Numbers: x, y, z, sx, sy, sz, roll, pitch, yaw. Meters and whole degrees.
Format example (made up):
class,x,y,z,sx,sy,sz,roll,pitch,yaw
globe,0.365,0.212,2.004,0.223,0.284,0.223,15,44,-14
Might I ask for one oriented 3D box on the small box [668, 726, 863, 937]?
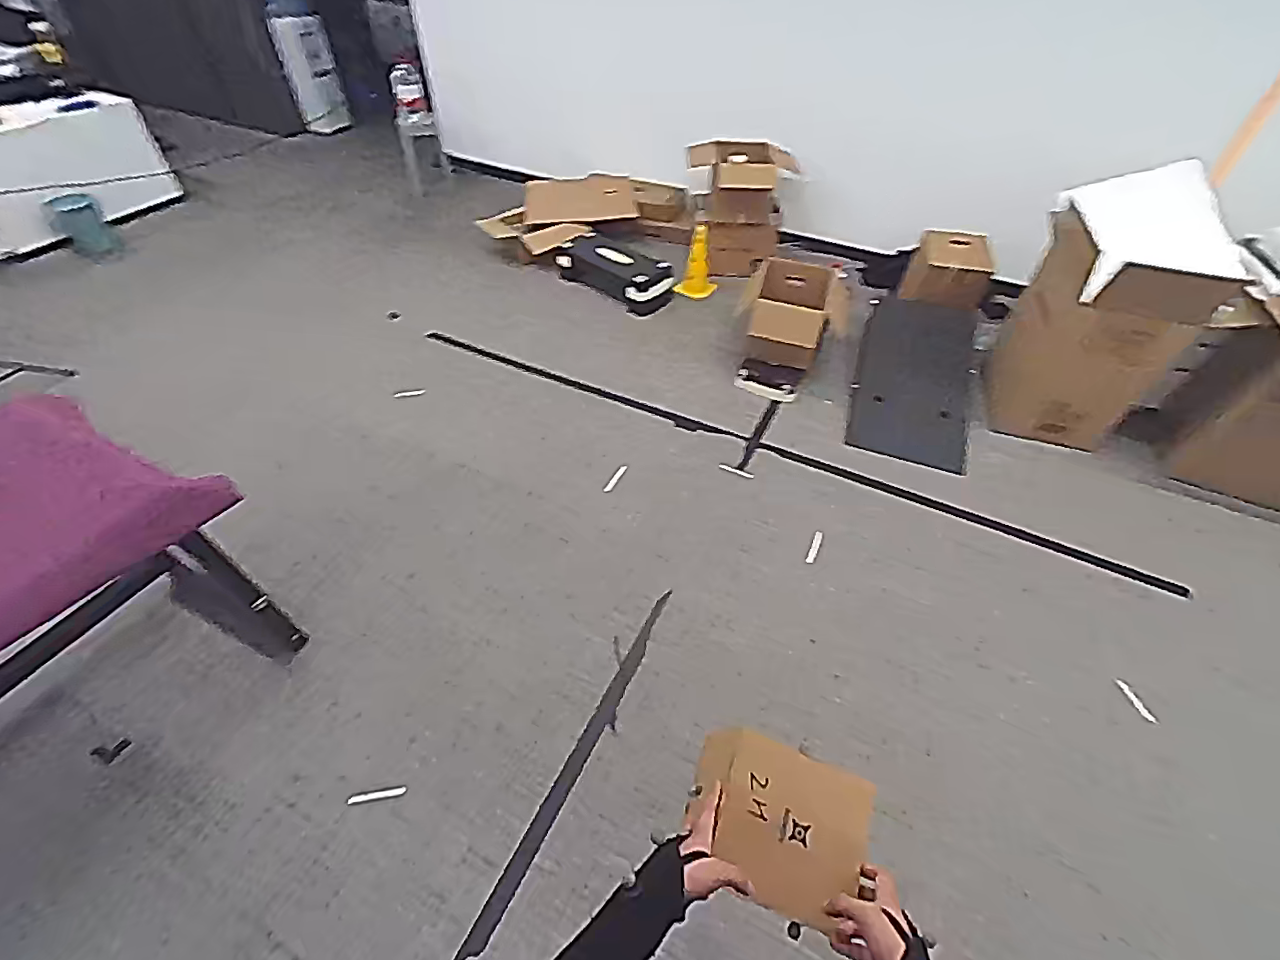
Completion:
class,x,y,z,sx,sy,sz,roll,pitch,yaw
small box,0.153,0.433,0.693,0.179,0.176,0.168,22,61,2
